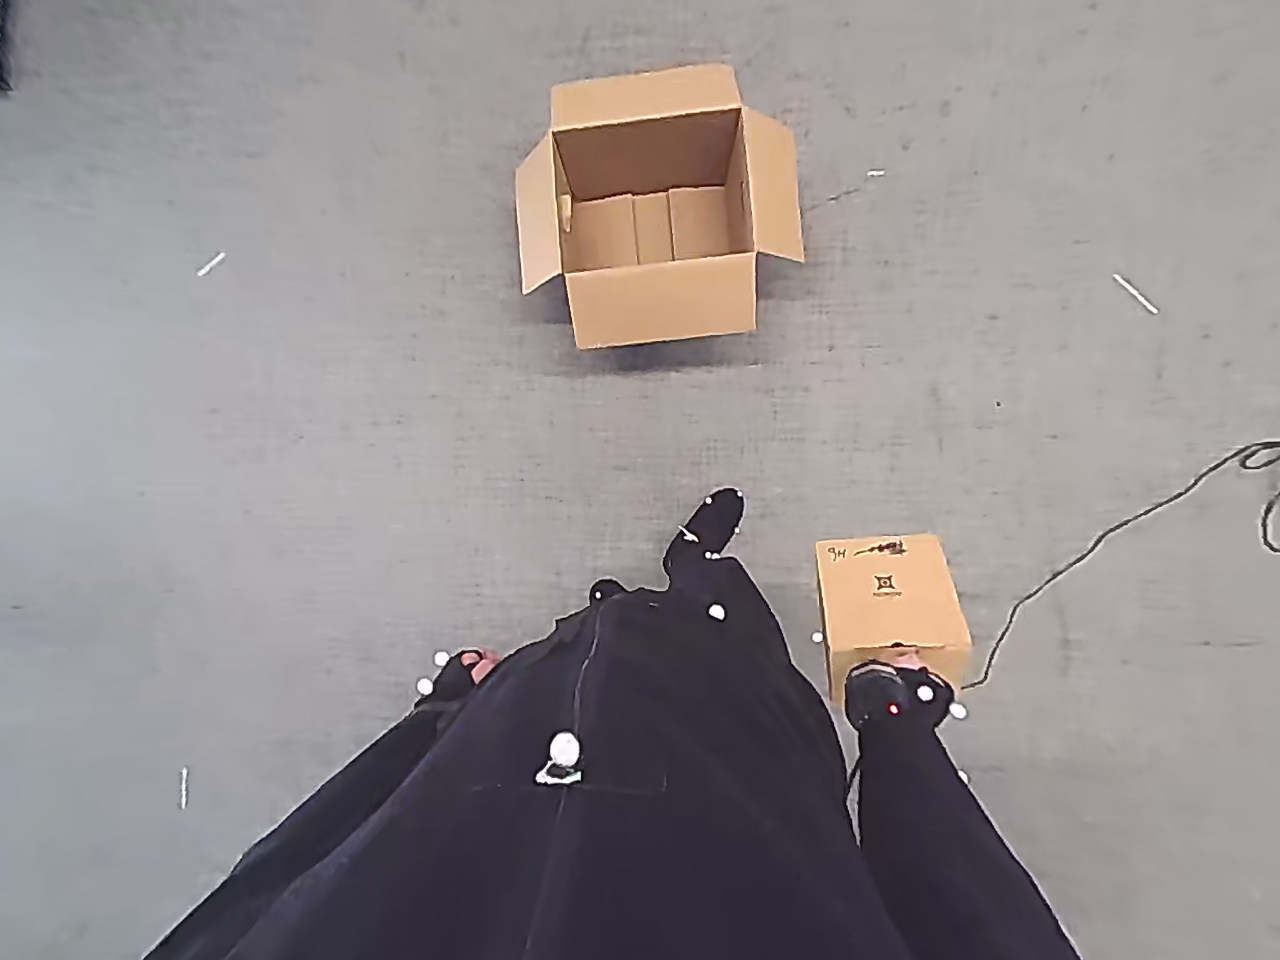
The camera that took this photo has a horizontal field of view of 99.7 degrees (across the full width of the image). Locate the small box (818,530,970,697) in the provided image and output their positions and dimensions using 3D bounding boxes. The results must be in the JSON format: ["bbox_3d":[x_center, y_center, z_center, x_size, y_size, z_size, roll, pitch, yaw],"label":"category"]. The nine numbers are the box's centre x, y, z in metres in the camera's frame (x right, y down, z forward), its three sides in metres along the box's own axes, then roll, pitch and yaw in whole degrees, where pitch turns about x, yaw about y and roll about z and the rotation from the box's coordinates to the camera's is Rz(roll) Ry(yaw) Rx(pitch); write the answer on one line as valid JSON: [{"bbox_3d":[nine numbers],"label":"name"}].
[{"bbox_3d":[0.351,0.194,0.774,0.168,0.176,0.179,-5,45,17],"label":"small box"}]
